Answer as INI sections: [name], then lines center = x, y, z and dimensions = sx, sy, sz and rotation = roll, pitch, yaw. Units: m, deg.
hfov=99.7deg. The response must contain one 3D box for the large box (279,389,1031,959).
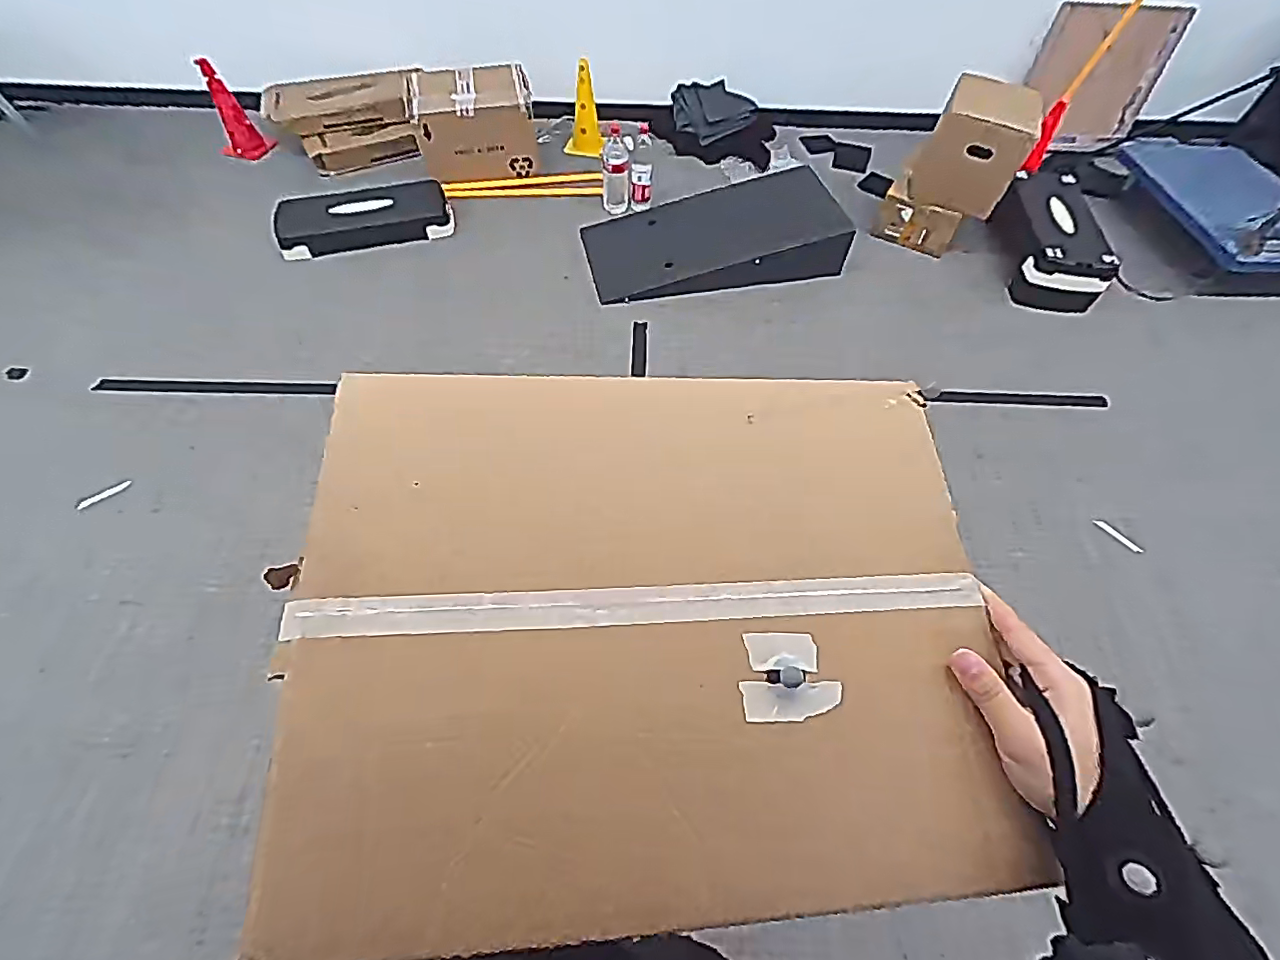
[large box]
center = -0.004, 0.134, 0.468
dimensions = 0.408, 0.320, 0.320
rotation = -1, 68, -8
